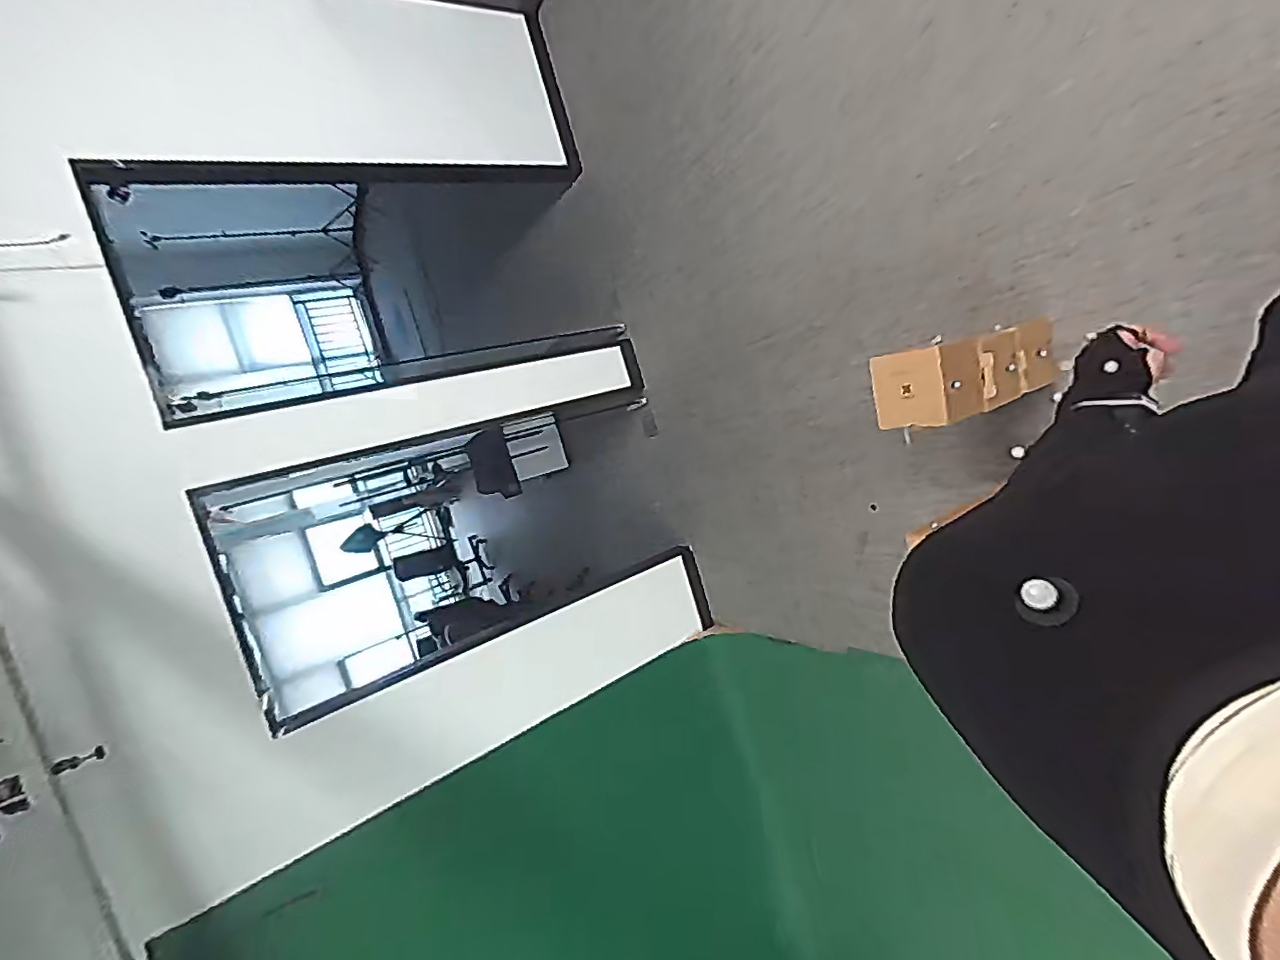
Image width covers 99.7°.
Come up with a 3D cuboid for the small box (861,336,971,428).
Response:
[{"bbox_3d":[0.650,-0.227,1.268,0.168,0.176,0.179,4,109,56],"label":"small box"}]

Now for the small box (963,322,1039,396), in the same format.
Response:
[{"bbox_3d":[0.924,-0.310,1.430,0.179,0.176,0.168,-3,103,57],"label":"small box"}]

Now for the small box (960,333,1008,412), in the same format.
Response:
[{"bbox_3d":[0.785,-0.265,1.354,0.179,0.176,0.168,5,111,57],"label":"small box"}]
